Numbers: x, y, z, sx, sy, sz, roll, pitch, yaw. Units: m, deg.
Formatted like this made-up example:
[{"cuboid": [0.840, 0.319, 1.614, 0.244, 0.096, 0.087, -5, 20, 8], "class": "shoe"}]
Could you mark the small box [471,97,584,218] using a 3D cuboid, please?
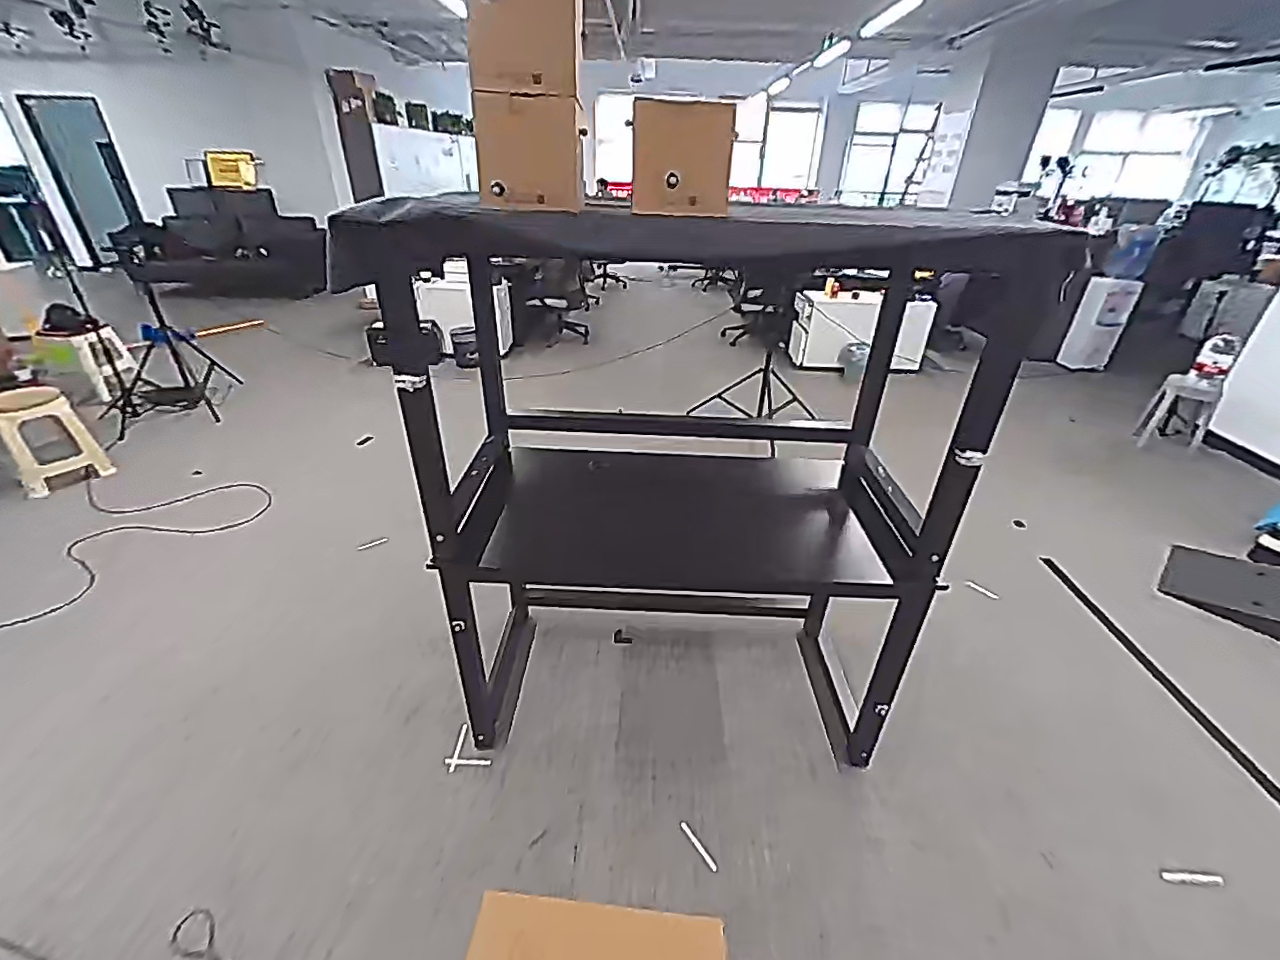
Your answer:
[{"cuboid": [-0.187, -0.561, 0.955, 0.168, 0.176, 0.179, 2, 28, -2], "class": "small box"}]

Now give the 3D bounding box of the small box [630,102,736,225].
[{"cuboid": [0.069, -0.554, 0.959, 0.168, 0.176, 0.179, 2, 28, 0], "class": "small box"}]
